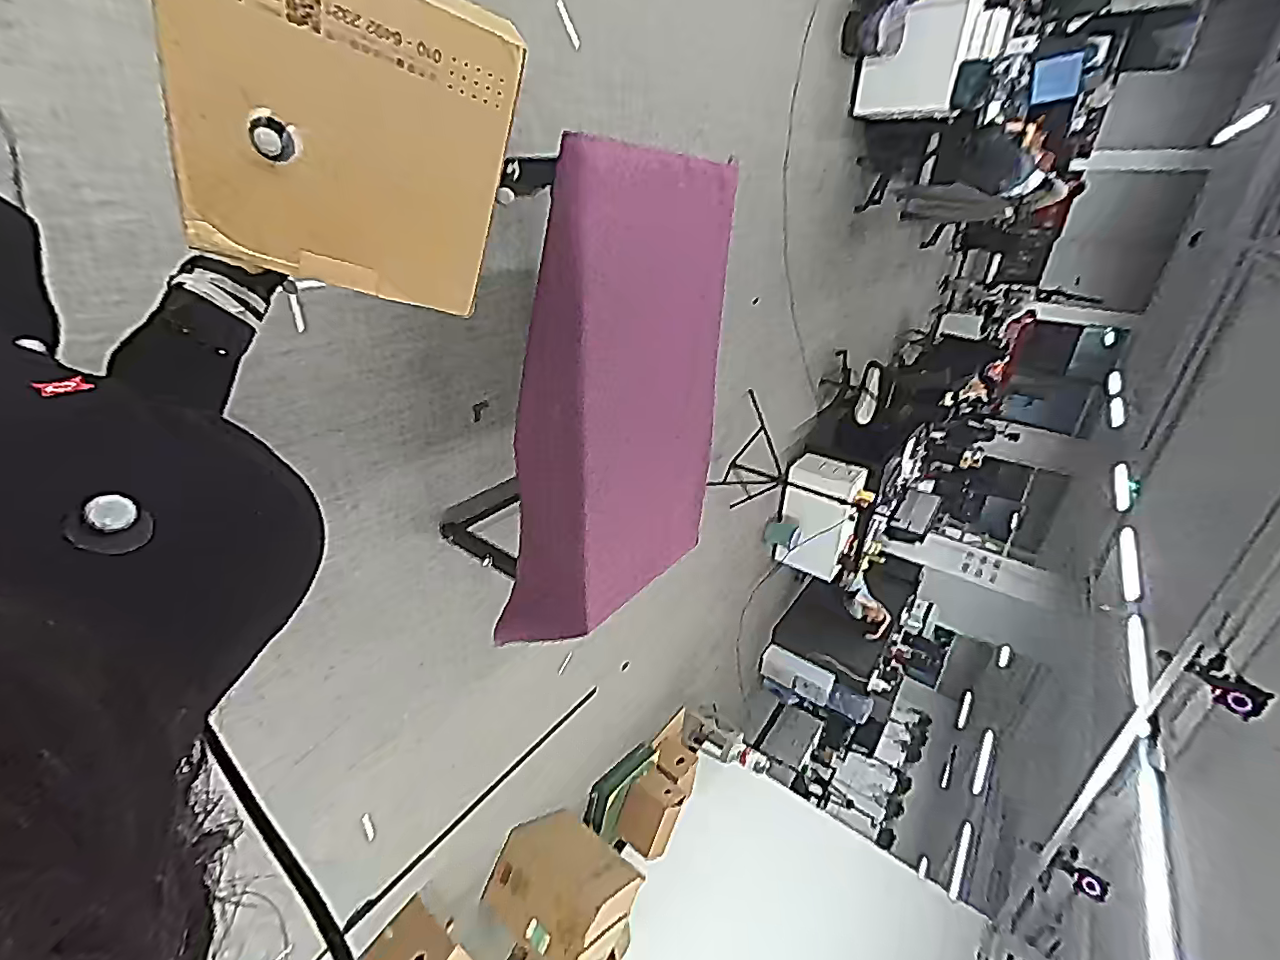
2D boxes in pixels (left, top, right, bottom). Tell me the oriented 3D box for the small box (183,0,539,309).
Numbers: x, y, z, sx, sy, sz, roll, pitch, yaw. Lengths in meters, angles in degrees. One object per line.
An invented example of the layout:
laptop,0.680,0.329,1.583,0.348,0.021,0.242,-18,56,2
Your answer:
small box,-0.171,-0.246,0.357,0.168,0.179,0.176,10,130,-25
